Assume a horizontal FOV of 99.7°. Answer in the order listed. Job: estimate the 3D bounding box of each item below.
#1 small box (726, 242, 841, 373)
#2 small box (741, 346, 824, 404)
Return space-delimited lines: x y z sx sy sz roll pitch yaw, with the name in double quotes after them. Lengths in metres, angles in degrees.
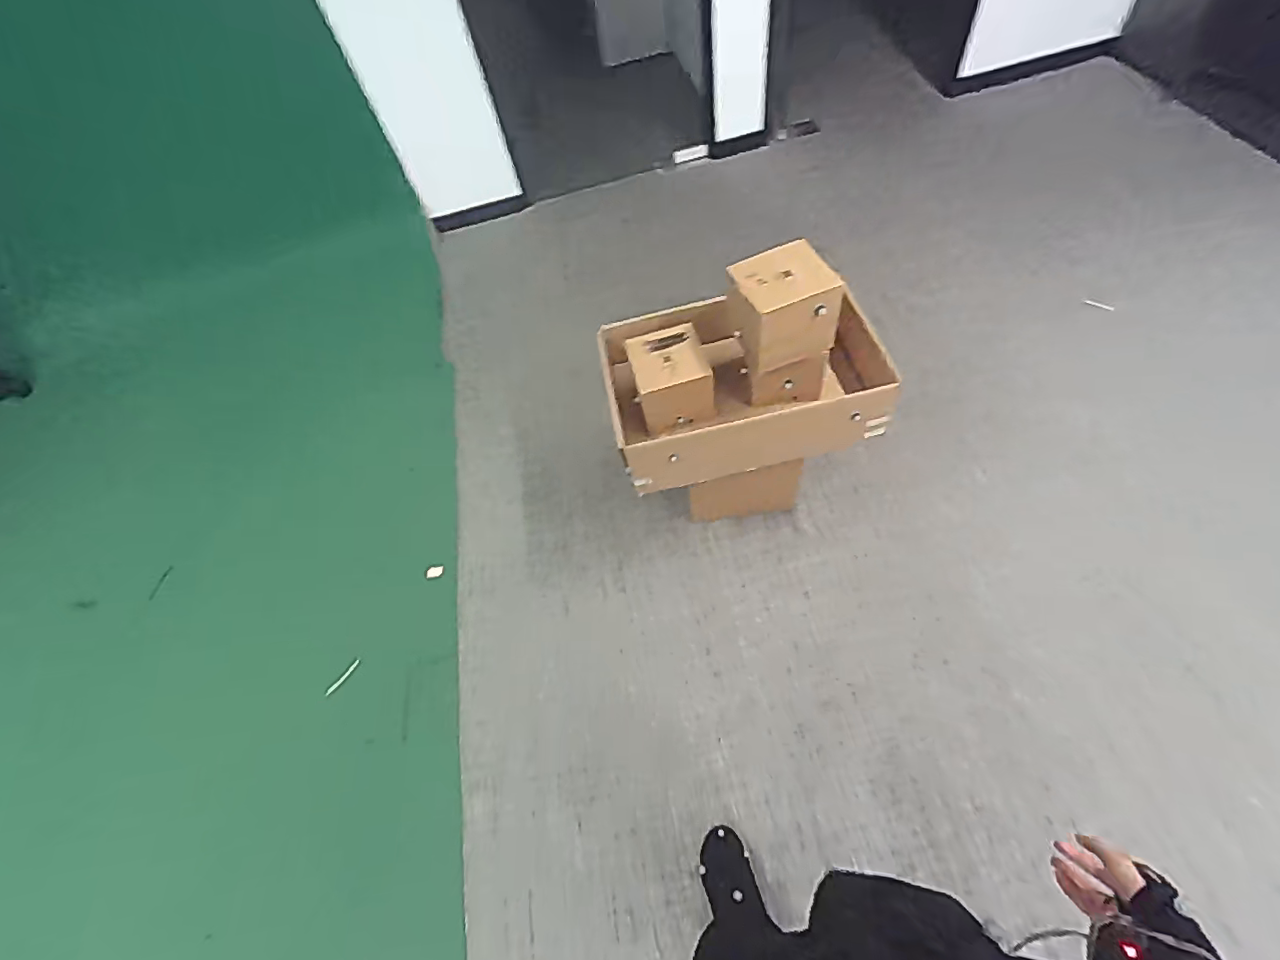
0.290 -0.357 1.134 0.179 0.176 0.168 -21 56 -2 "small box"
0.331 -0.295 1.284 0.168 0.176 0.179 -4 59 6 "small box"
